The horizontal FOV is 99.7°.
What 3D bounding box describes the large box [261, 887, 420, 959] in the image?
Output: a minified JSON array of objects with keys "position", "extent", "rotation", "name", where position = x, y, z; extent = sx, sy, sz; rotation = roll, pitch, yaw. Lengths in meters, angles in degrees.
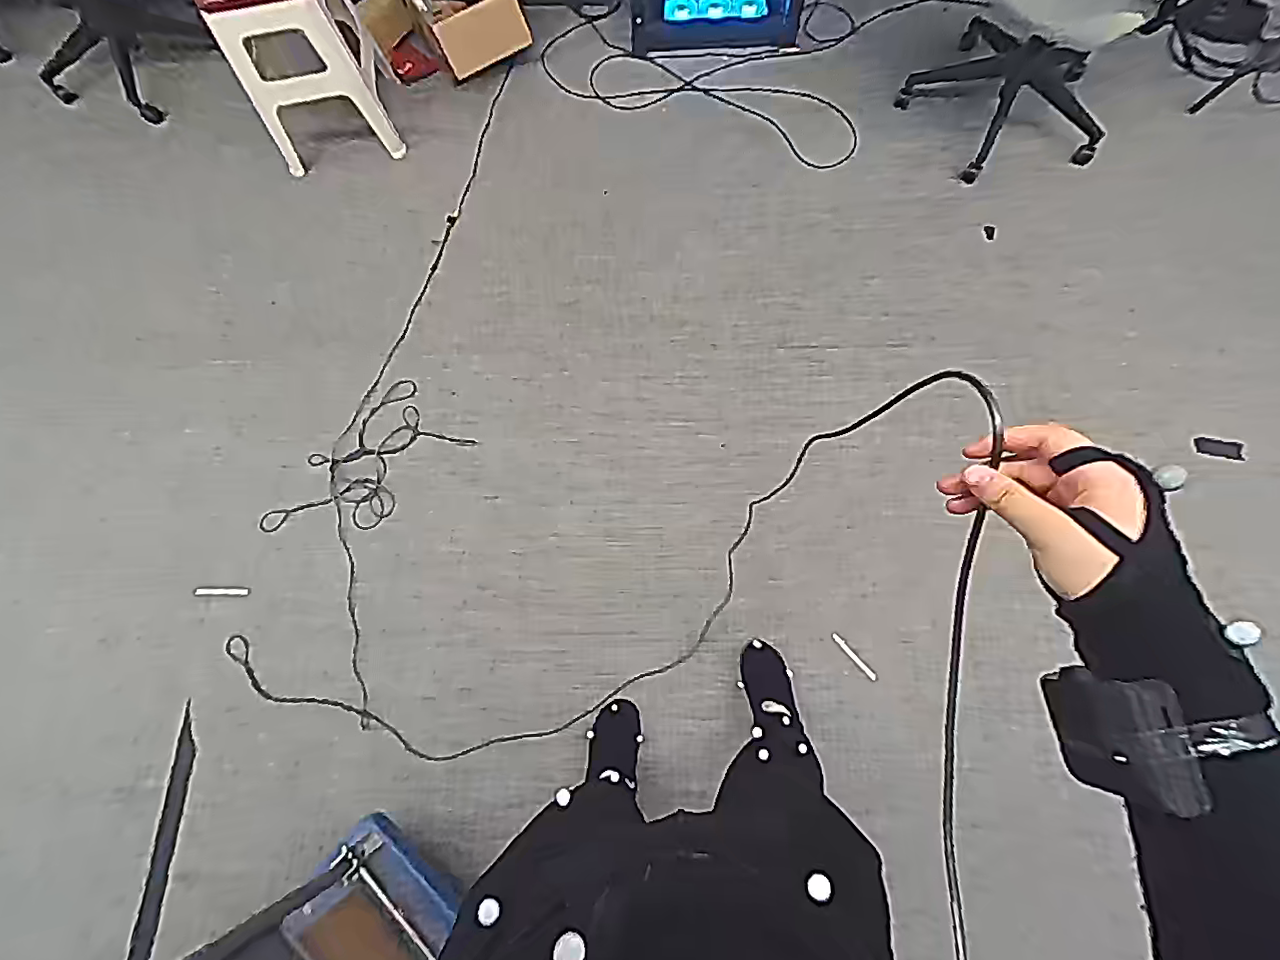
[{"position":[-0.500,0.971,0.834],"extent":[0.408,0.320,0.320],"rotation":[40,77,13],"name":"large box"}]
